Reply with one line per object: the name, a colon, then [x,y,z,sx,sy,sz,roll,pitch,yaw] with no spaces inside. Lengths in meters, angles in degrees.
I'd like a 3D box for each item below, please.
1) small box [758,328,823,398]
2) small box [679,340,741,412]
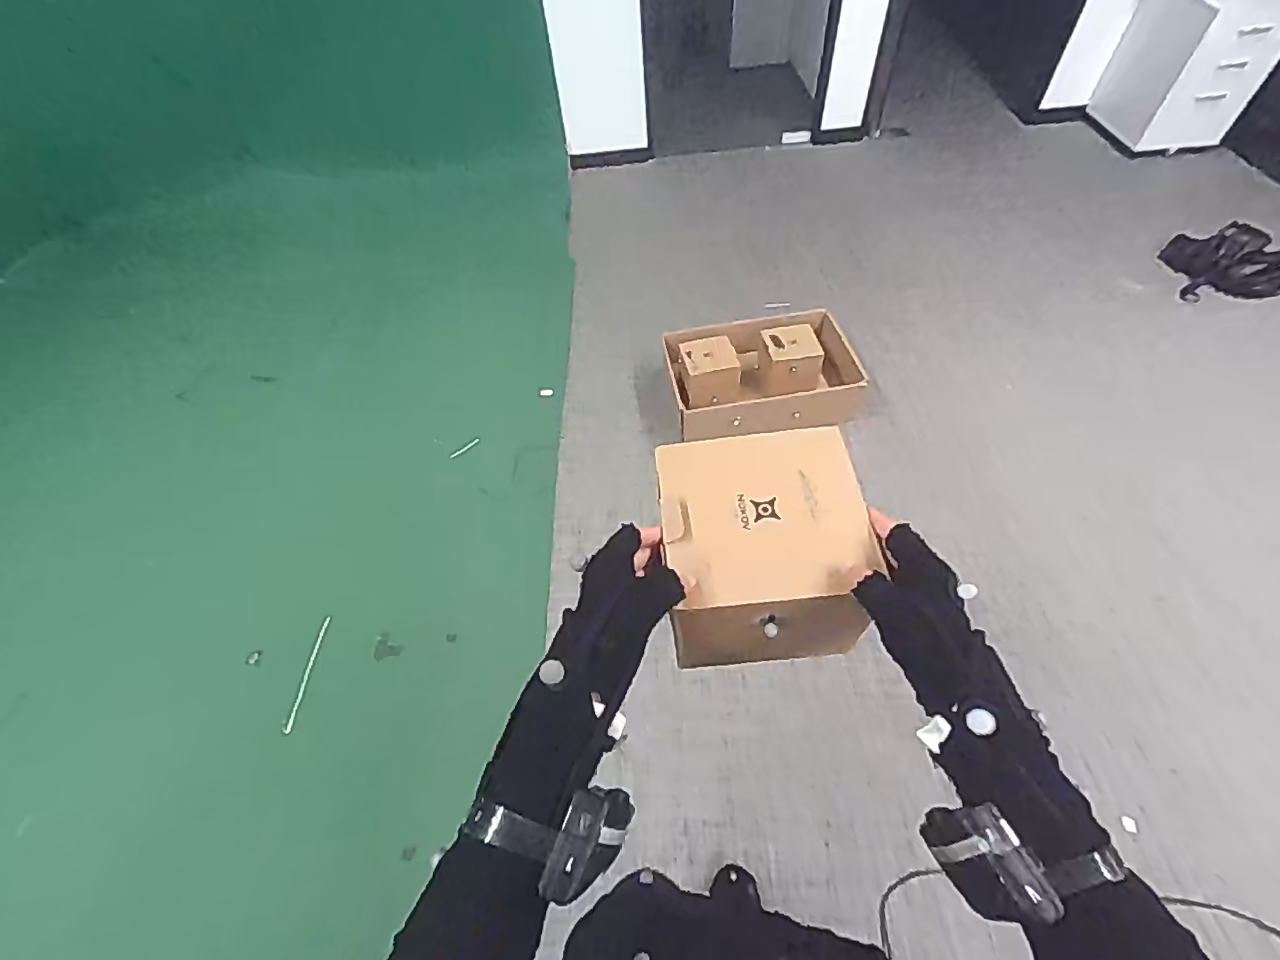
small box: [0.517,-0.403,1.887,0.179,0.176,0.168,-8,53,-1]
small box: [0.238,-0.358,1.879,0.179,0.176,0.168,-10,52,-4]
